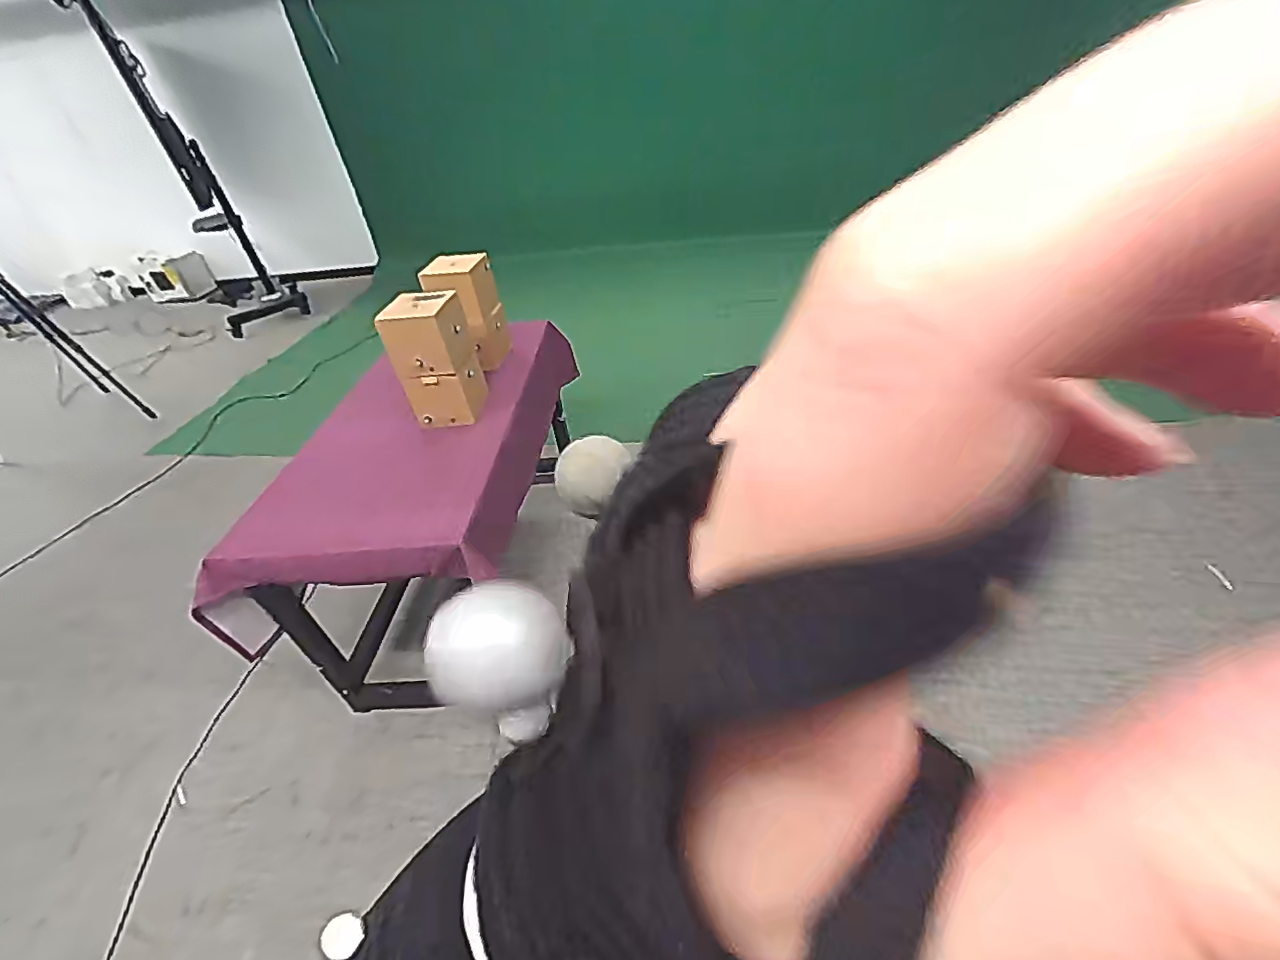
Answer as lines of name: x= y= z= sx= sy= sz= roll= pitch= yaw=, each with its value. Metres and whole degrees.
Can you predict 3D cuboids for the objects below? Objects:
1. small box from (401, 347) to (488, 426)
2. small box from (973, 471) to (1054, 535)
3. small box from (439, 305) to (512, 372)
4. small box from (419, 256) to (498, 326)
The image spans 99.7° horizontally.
small box: x=-0.561 y=-0.268 z=1.582 sx=0.168 sy=0.176 sz=0.179 roll=-4 pitch=38 yaw=5
small box: x=1.352 y=0.089 z=1.969 sx=0.168 sy=0.176 sz=0.179 roll=-2 pitch=39 yaw=5
small box: x=-0.552 y=-0.480 z=1.844 sx=0.168 sy=0.176 sz=0.179 roll=1 pitch=39 yaw=10
small box: x=-0.575 y=-0.605 z=1.742 sx=0.168 sy=0.176 sz=0.179 roll=-1 pitch=39 yaw=8
